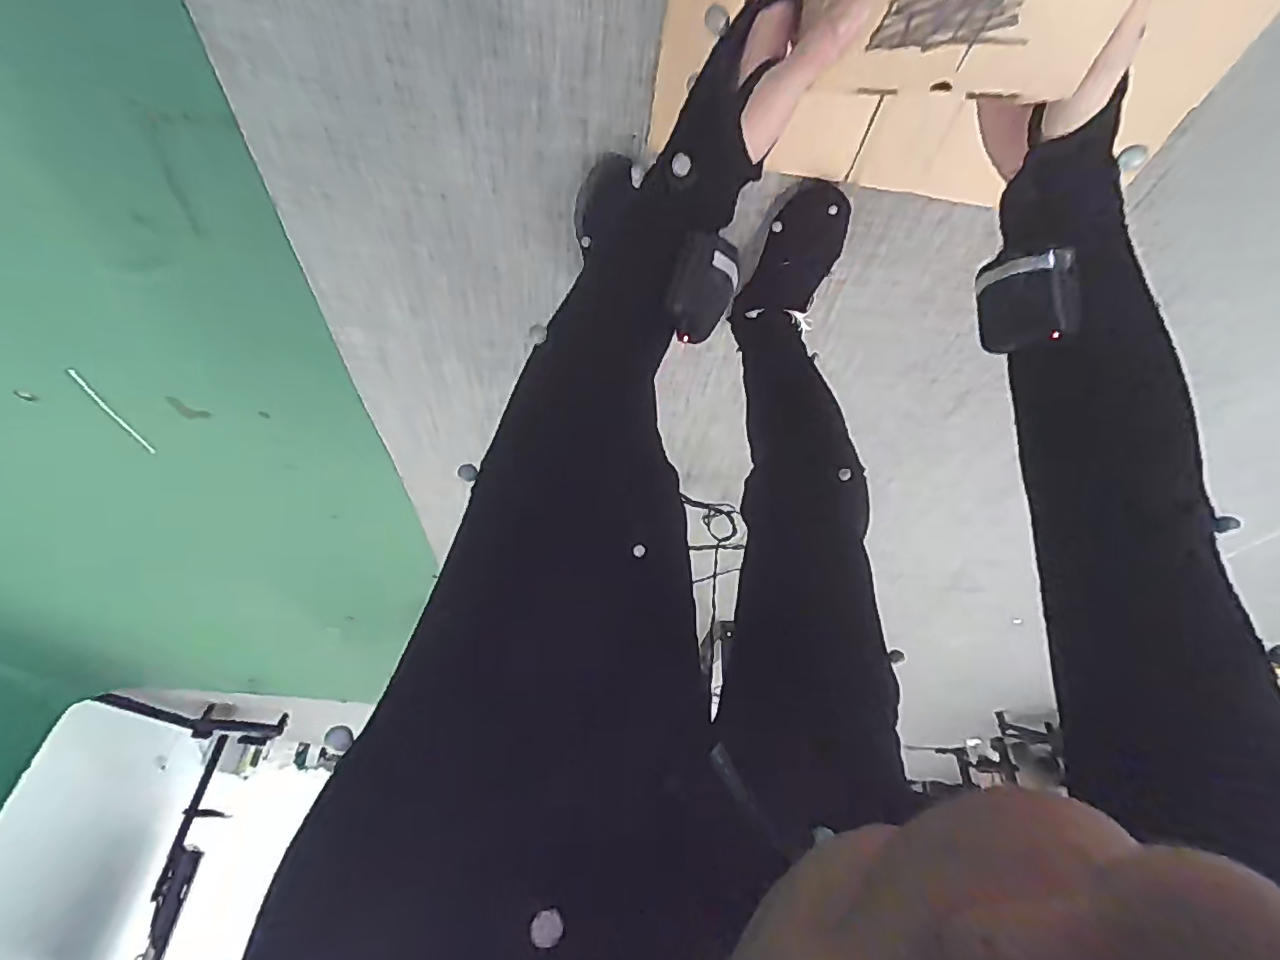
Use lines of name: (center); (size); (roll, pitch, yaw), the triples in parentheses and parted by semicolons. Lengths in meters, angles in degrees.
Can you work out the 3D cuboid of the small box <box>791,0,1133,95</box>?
small box: (0.185, -0.349, 0.293); (0.168, 0.176, 0.179); (1, 149, -2)
